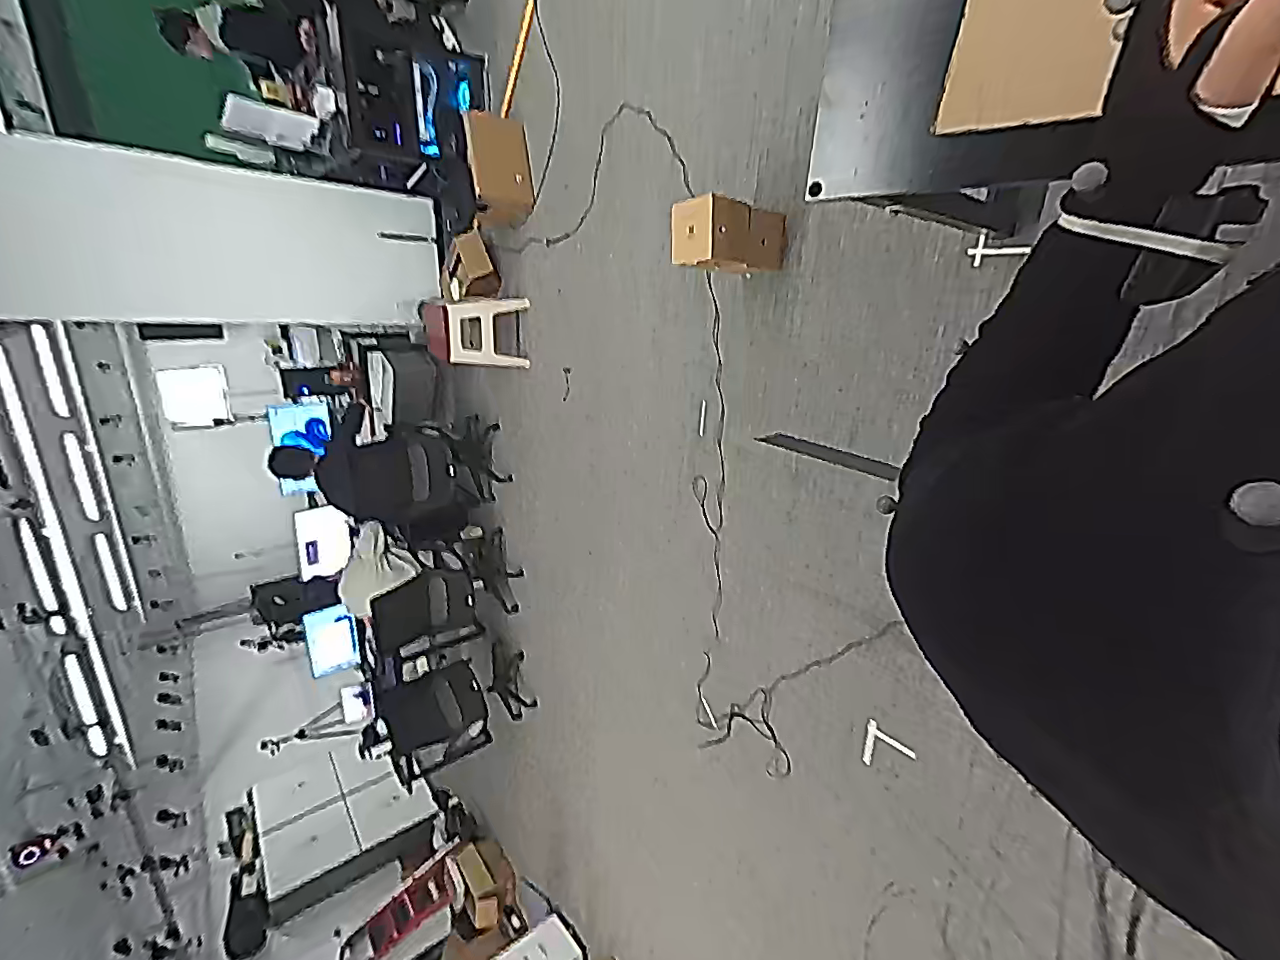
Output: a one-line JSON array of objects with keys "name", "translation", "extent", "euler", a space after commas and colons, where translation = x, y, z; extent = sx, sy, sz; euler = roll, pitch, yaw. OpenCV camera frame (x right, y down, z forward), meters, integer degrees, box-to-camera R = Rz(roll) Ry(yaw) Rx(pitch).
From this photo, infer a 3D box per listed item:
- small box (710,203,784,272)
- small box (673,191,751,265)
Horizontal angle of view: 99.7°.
[{"name": "small box", "translation": [0.344, -0.771, 1.734], "extent": [0.168, 0.176, 0.179], "euler": [20, 115, 48]}, {"name": "small box", "translation": [0.218, -0.750, 1.633], "extent": [0.168, 0.176, 0.179], "euler": [16, 111, 48]}]
